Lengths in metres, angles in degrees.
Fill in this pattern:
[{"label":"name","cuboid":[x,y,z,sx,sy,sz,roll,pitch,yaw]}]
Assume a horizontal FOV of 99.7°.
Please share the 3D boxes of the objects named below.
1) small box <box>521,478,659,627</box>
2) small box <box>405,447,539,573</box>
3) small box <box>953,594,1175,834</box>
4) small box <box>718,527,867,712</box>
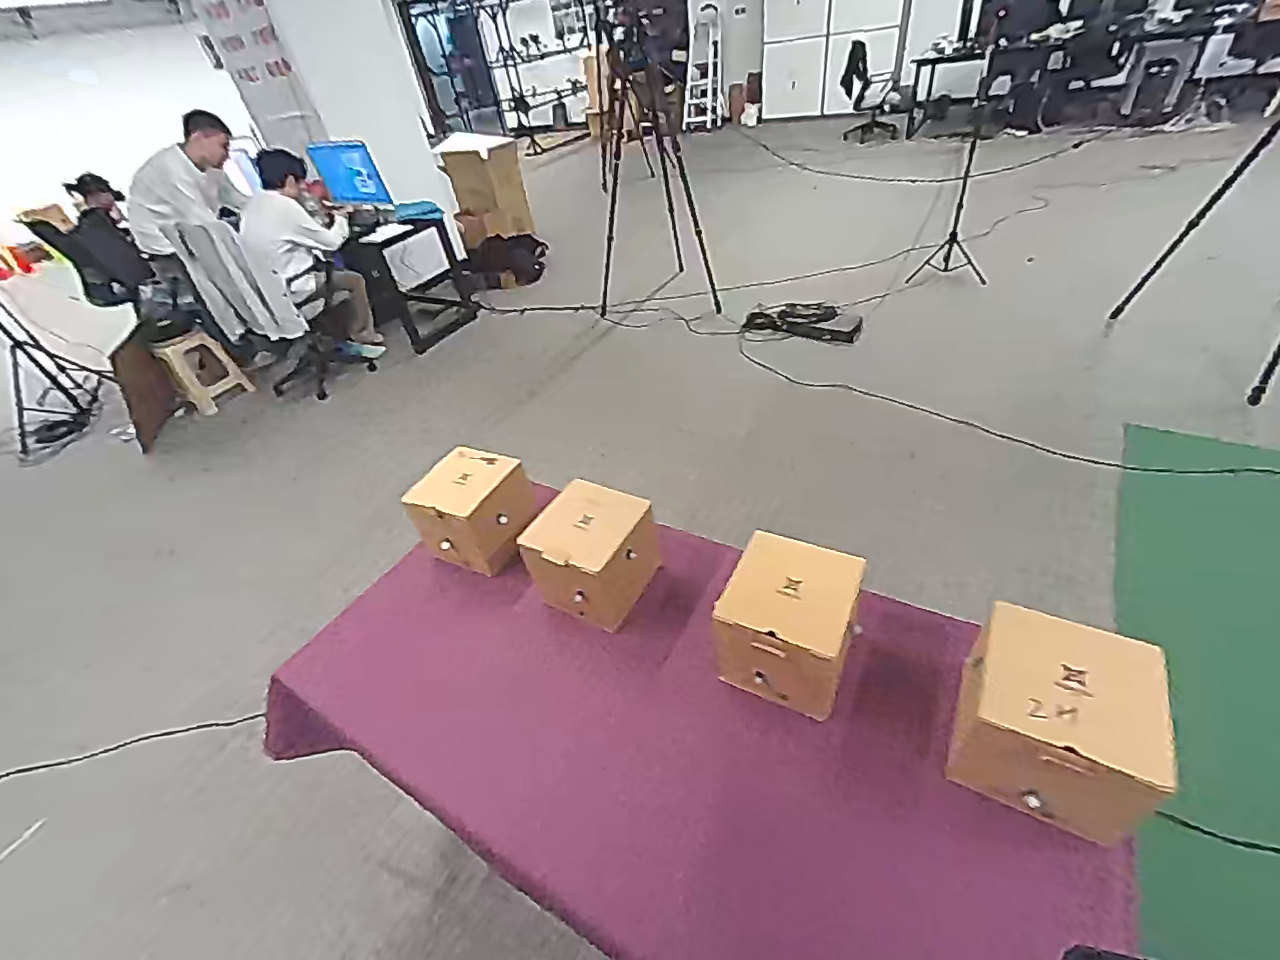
[{"label":"small box","cuboid":[-0.077,0.129,0.964,0.168,0.176,0.179,17,48,27]},{"label":"small box","cuboid":[-0.328,0.061,1.098,0.168,0.176,0.179,13,47,24]},{"label":"small box","cuboid":[0.495,0.277,0.653,0.168,0.176,0.179,15,47,29]},{"label":"small box","cuboid":[0.225,0.205,0.806,0.168,0.176,0.179,14,47,27]}]
